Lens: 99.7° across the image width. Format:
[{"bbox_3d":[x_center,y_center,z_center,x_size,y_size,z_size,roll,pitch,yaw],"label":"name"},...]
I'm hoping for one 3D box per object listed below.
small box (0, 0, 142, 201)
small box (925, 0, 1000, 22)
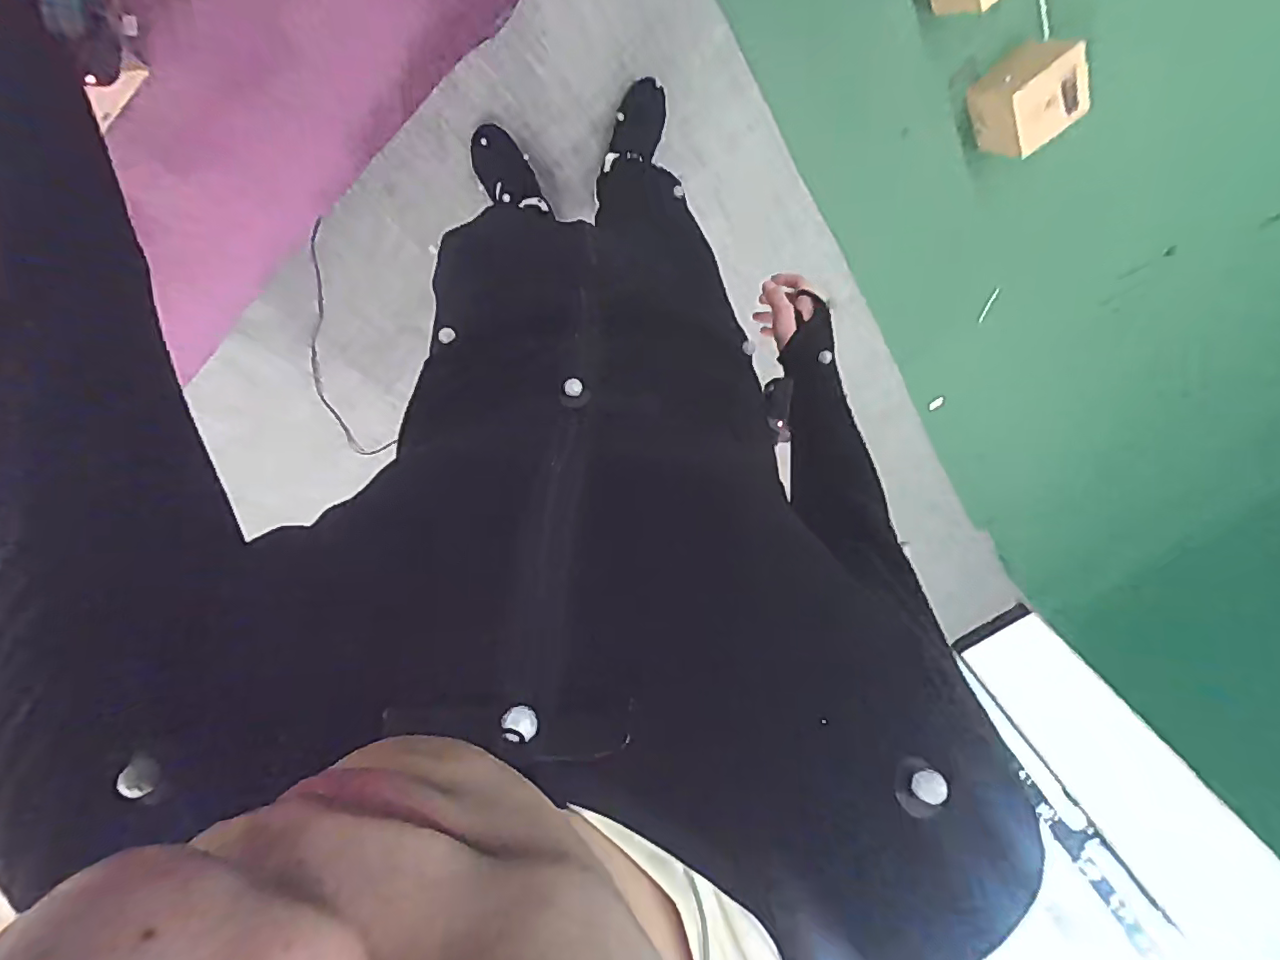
[{"bbox_3d":[-0.581,-0.350,0.441,0.168,0.176,0.179,-36,129,13],"label":"small box"},{"bbox_3d":[0.718,-1.122,1.148,0.179,0.176,0.168,-37,127,13],"label":"small box"}]
